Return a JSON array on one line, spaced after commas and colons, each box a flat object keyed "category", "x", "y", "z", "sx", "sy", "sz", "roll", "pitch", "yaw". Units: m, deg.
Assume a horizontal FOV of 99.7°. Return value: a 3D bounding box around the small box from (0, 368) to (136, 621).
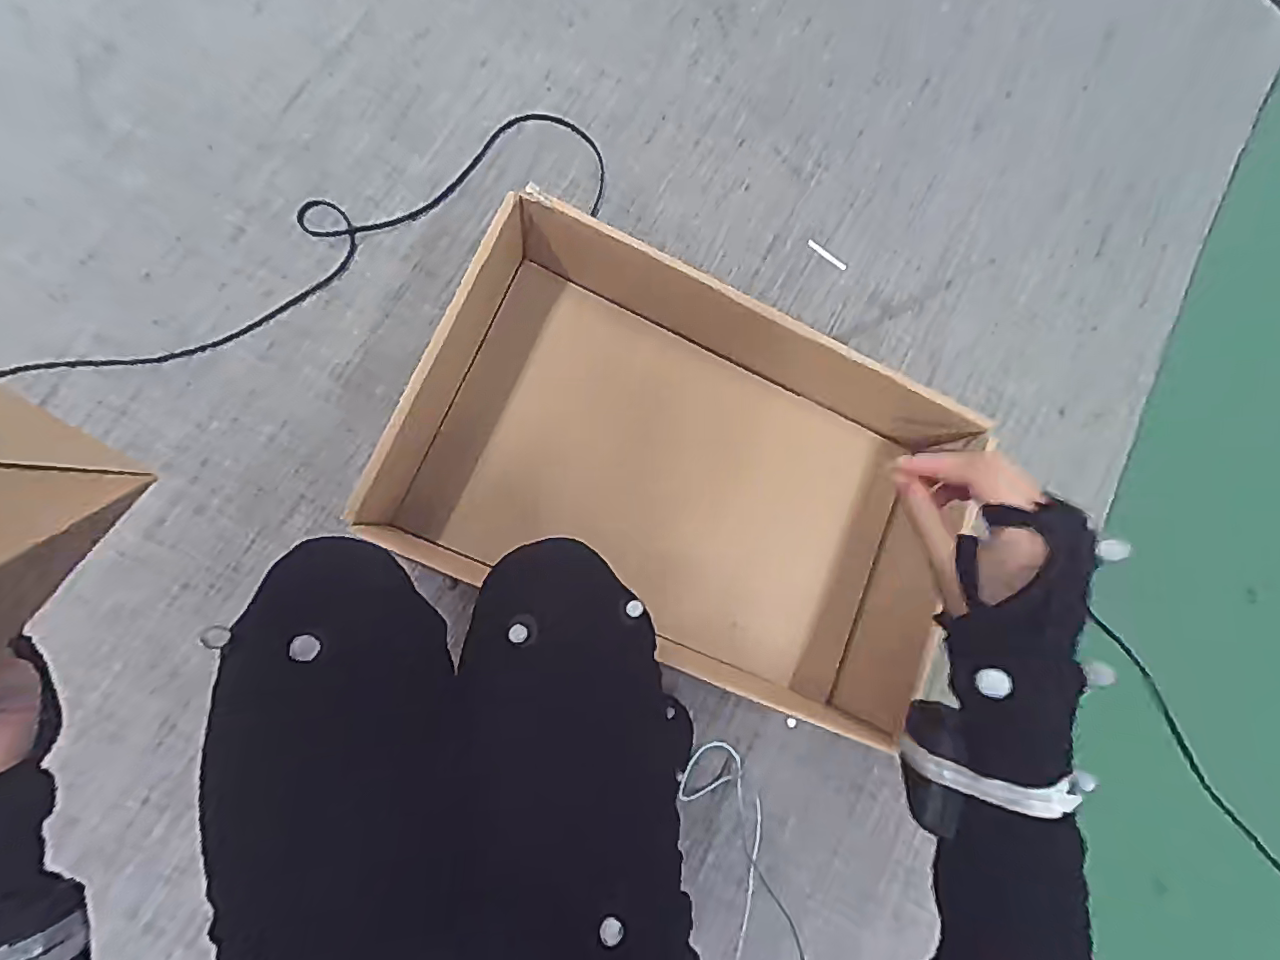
[{"category": "small box", "x": -0.300, "y": 0.022, "z": 0.137, "sx": 0.168, "sy": 0.179, "sz": 0.176, "roll": 42, "pitch": 87, "yaw": -26}]
